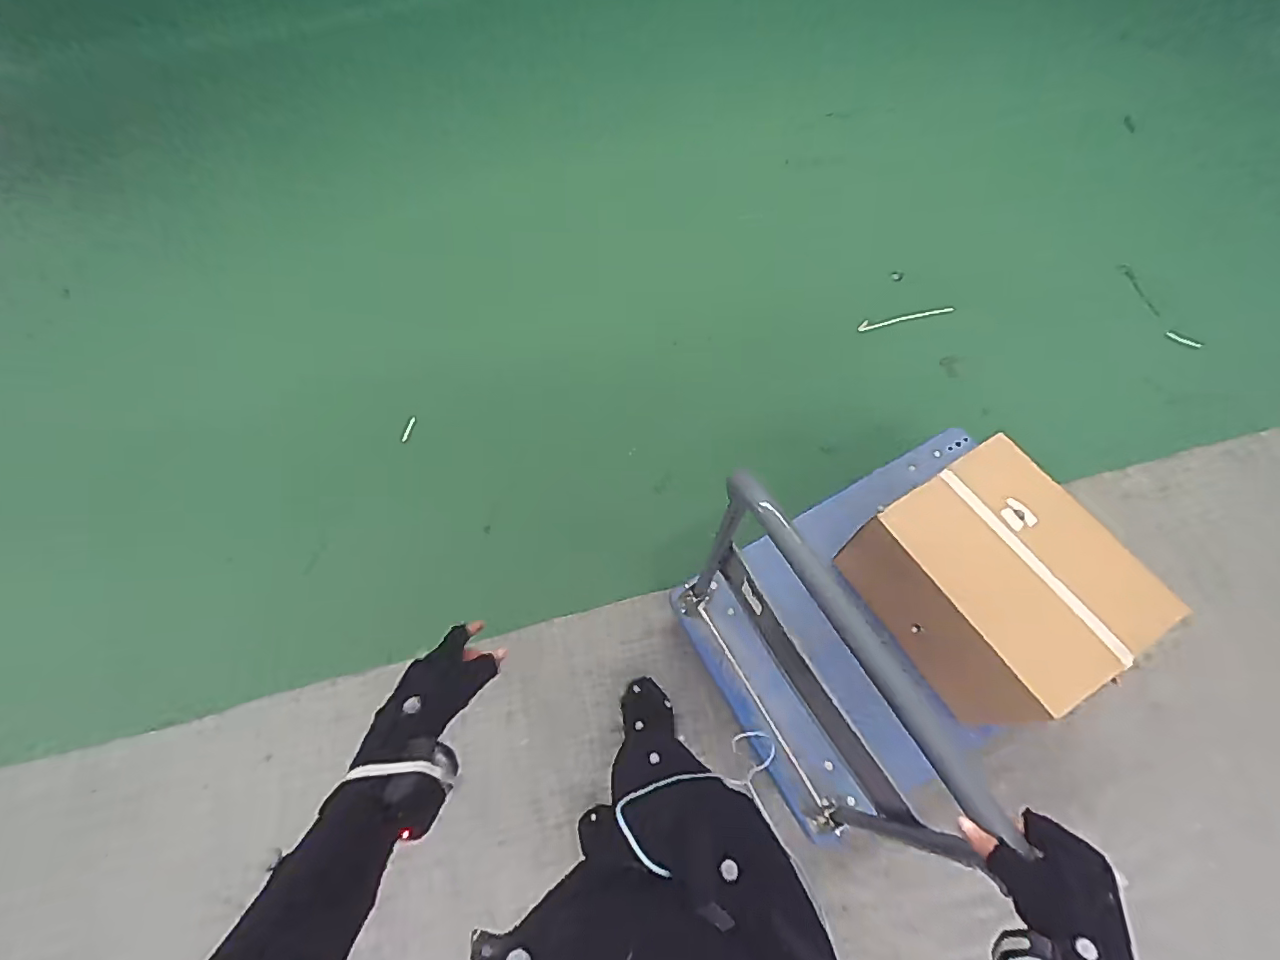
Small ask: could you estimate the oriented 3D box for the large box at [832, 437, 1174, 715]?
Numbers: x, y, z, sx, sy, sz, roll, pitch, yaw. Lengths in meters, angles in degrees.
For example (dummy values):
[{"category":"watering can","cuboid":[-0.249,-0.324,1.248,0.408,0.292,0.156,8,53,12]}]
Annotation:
[{"category":"large box","cuboid":[0.666,0.200,1.078,0.320,0.320,0.408,-30,66,-11]}]
